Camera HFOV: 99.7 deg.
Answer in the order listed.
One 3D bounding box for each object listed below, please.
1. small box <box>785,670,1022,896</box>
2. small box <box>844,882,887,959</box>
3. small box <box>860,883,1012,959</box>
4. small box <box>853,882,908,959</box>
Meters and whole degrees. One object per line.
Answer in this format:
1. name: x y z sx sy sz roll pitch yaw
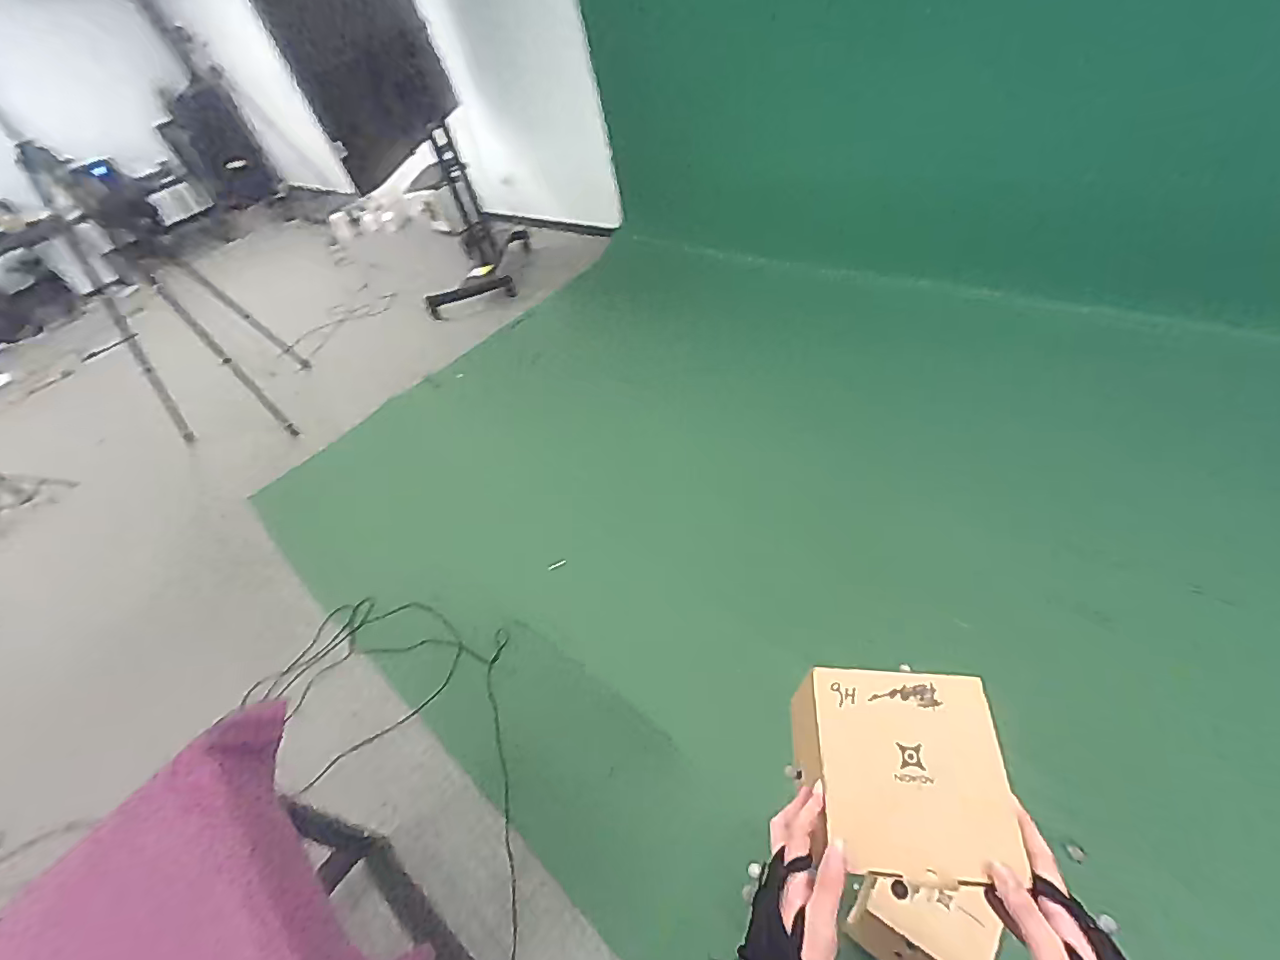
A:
1. small box: 0.251 0.313 0.568 0.168 0.176 0.179 1 56 6
2. small box: 0.552 0.942 1.142 0.179 0.176 0.168 26 58 35
3. small box: 0.489 0.718 0.913 0.179 0.176 0.168 22 57 32
4. small box: 0.525 0.832 1.026 0.179 0.176 0.168 23 57 34
